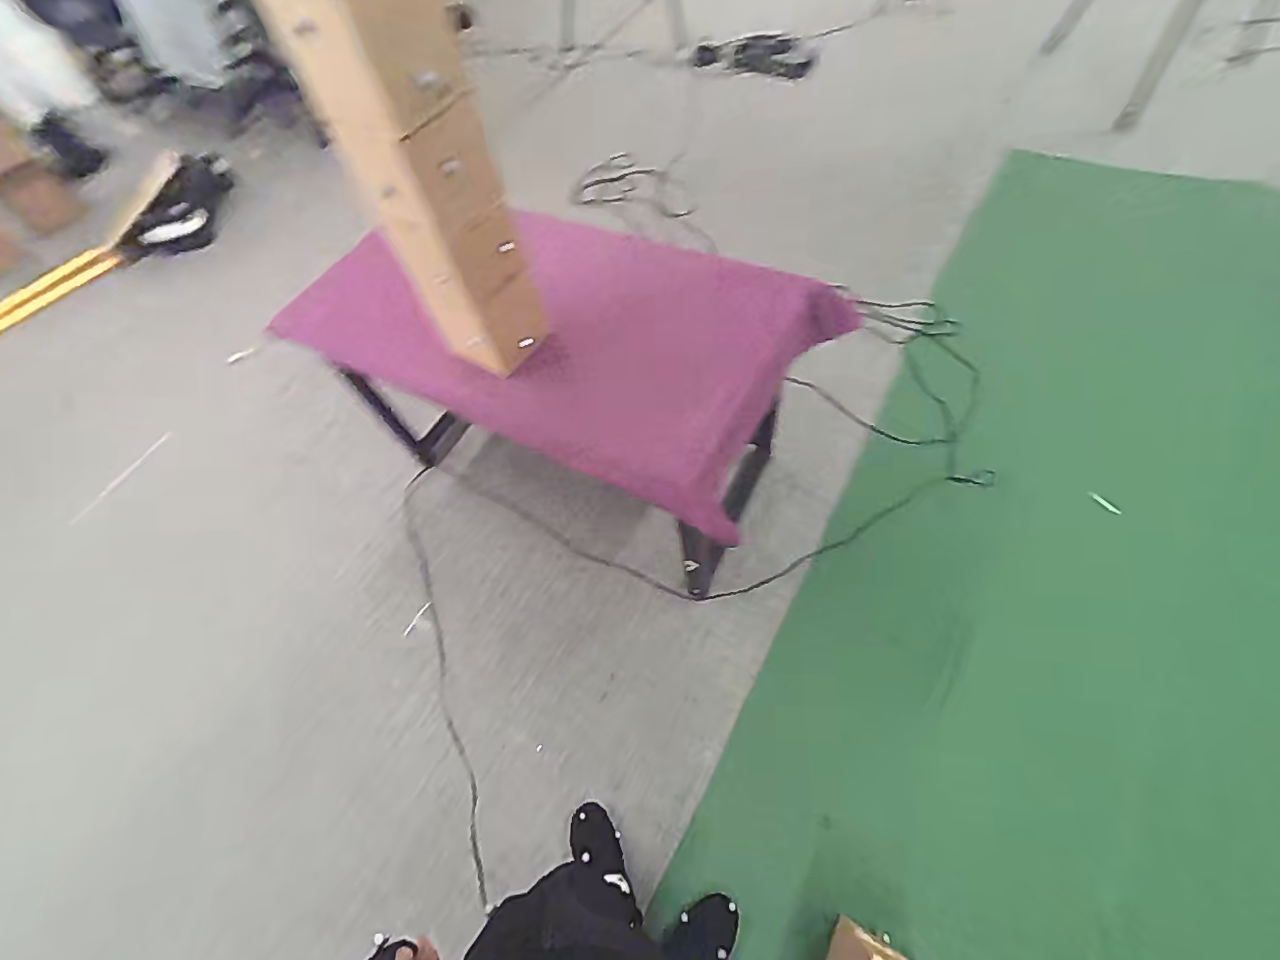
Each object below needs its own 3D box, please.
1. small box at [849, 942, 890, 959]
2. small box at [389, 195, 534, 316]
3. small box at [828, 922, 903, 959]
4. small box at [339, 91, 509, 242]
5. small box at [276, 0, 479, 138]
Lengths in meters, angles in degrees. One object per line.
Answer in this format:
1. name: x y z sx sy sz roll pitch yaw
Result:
1. small box: 0.442 0.957 0.933 0.168 0.176 0.179 22 64 20
2. small box: -0.334 -0.448 1.050 0.179 0.176 0.168 28 66 22
3. small box: 0.465 1.034 1.074 0.168 0.176 0.179 25 65 21
4. small box: -0.350 -0.537 0.914 0.168 0.176 0.179 28 67 22
5. small box: -0.368 -0.624 0.775 0.179 0.176 0.168 27 65 21
